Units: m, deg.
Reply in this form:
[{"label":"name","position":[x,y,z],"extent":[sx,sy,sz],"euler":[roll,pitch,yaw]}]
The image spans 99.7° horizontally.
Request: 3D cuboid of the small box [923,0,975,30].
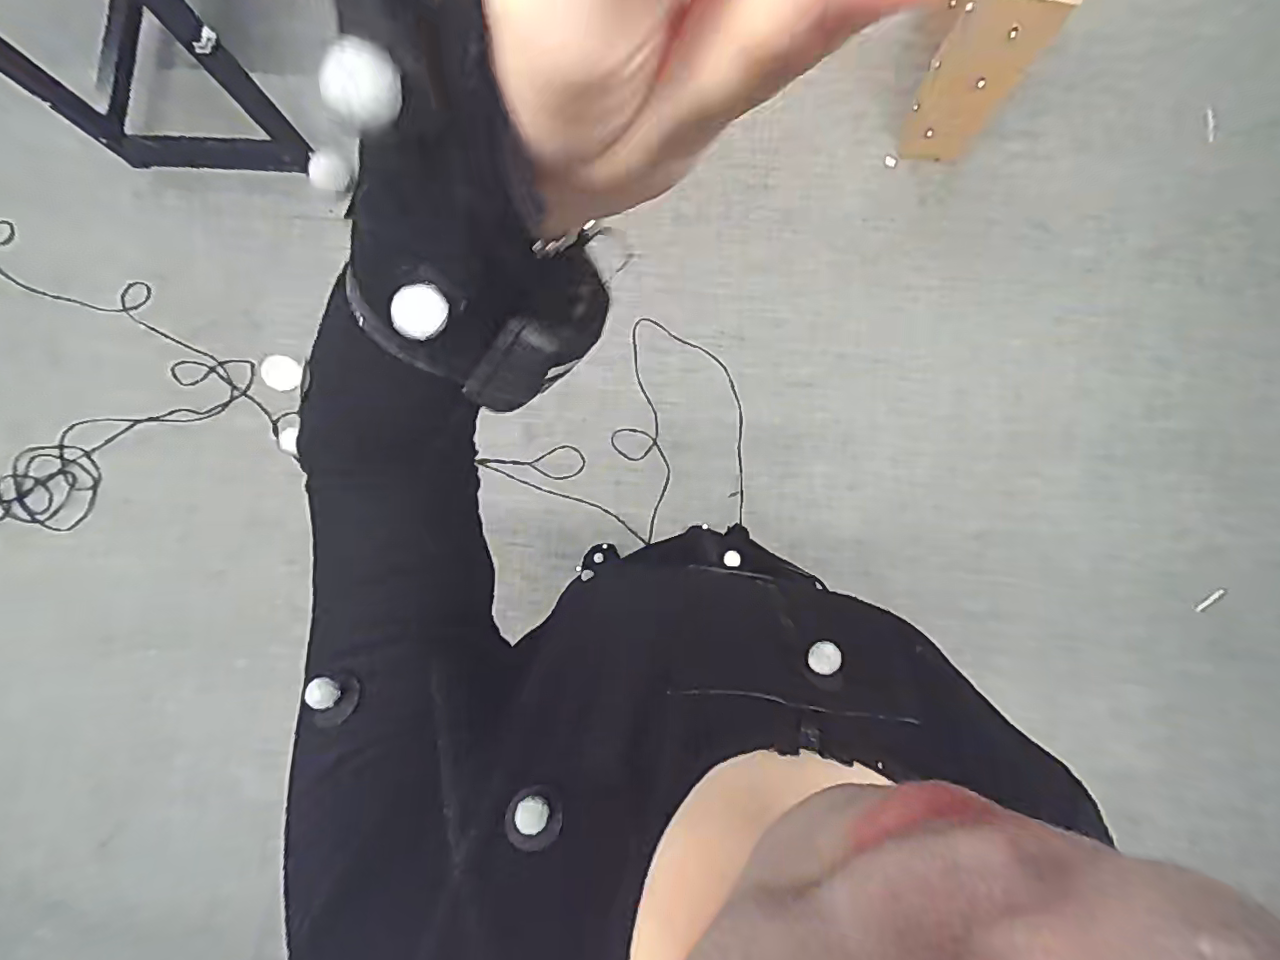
[{"label":"small box","position":[0.947,-1.451,1.562],"extent":[0.179,0.176,0.168],"euler":[8,85,3]}]
